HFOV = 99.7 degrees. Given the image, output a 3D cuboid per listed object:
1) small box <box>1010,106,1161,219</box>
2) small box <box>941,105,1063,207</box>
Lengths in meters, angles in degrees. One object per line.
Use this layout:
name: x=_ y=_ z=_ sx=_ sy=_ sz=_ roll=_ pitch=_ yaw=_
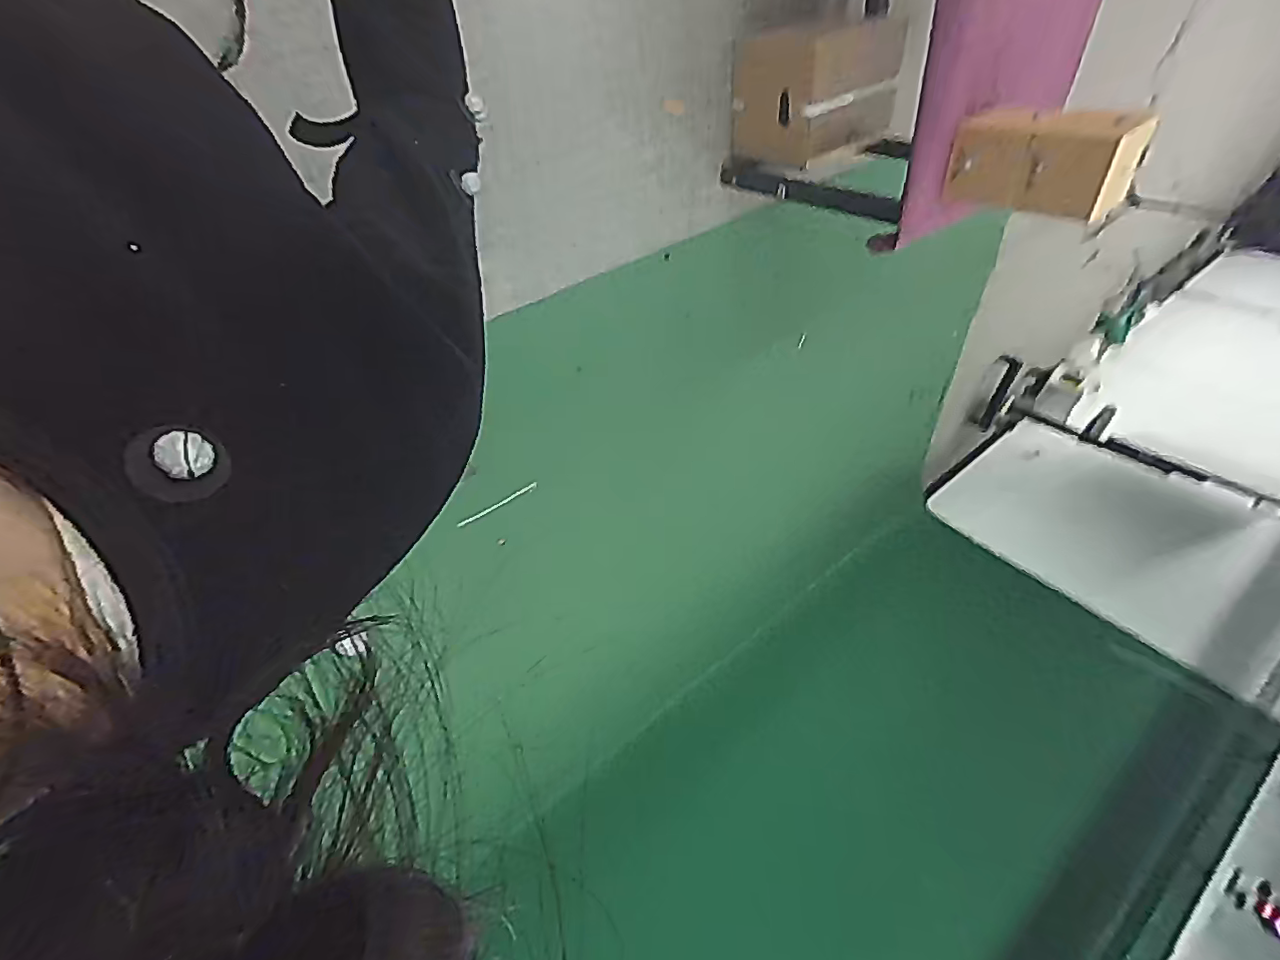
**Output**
small box: x=0.953 y=-0.694 z=1.171 sx=0.179 sy=0.176 sz=0.168 roll=-33 pitch=137 yaw=-21
small box: x=0.854 y=-0.770 z=1.276 sx=0.179 sy=0.176 sz=0.168 roll=-31 pitch=137 yaw=-23
